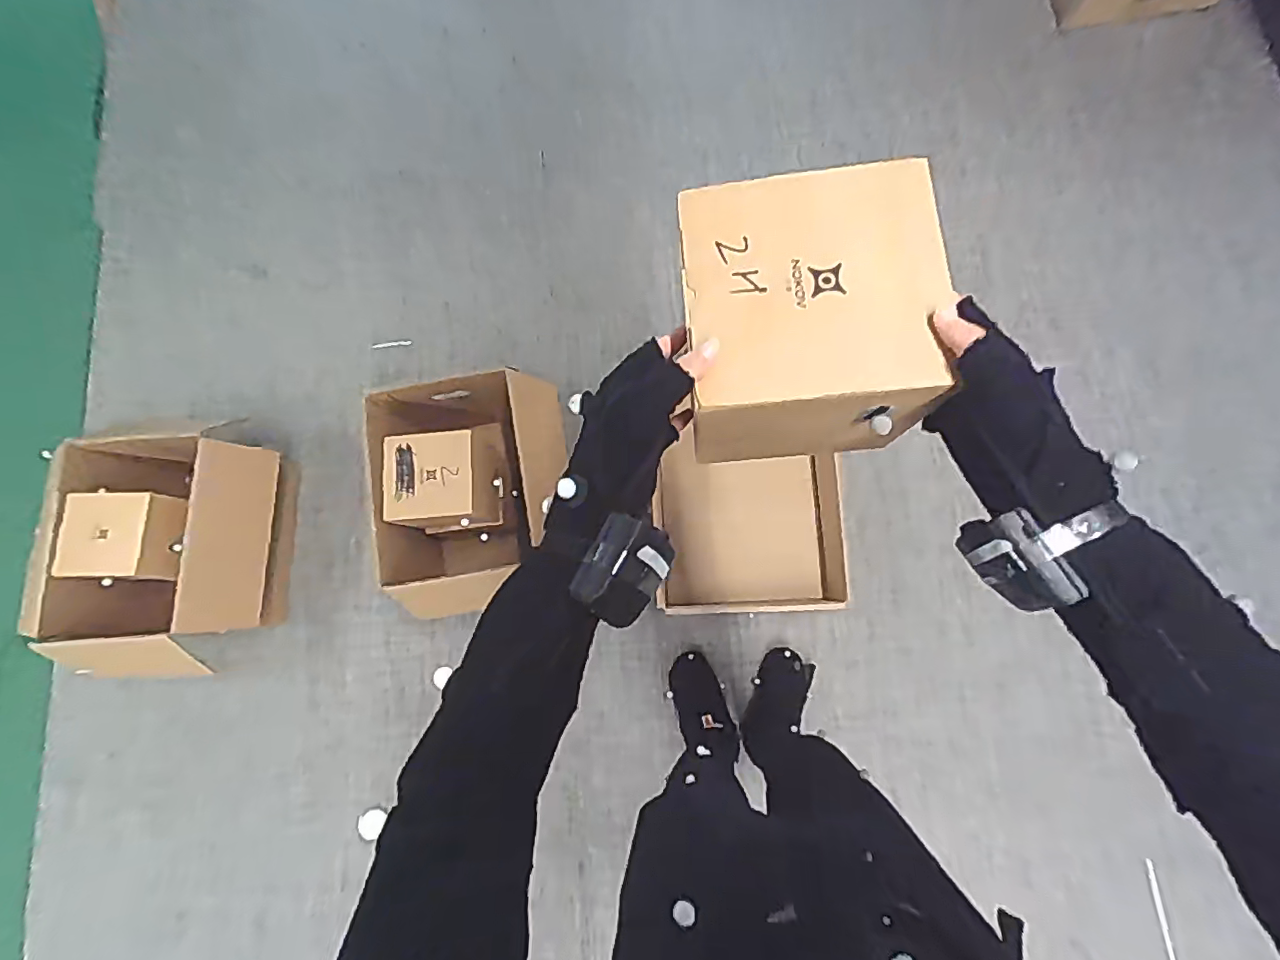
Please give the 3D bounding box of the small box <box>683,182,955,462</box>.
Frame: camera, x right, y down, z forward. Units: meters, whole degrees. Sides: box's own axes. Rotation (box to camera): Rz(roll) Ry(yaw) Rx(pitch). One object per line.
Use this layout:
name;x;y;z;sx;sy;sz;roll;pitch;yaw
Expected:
small box;0.128;-0.116;0.460;0.179;0.176;0.168;-4;78;5

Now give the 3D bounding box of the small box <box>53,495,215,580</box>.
small box;-1.049;0.124;1.139;0.179;0.176;0.168;-1;78;3
